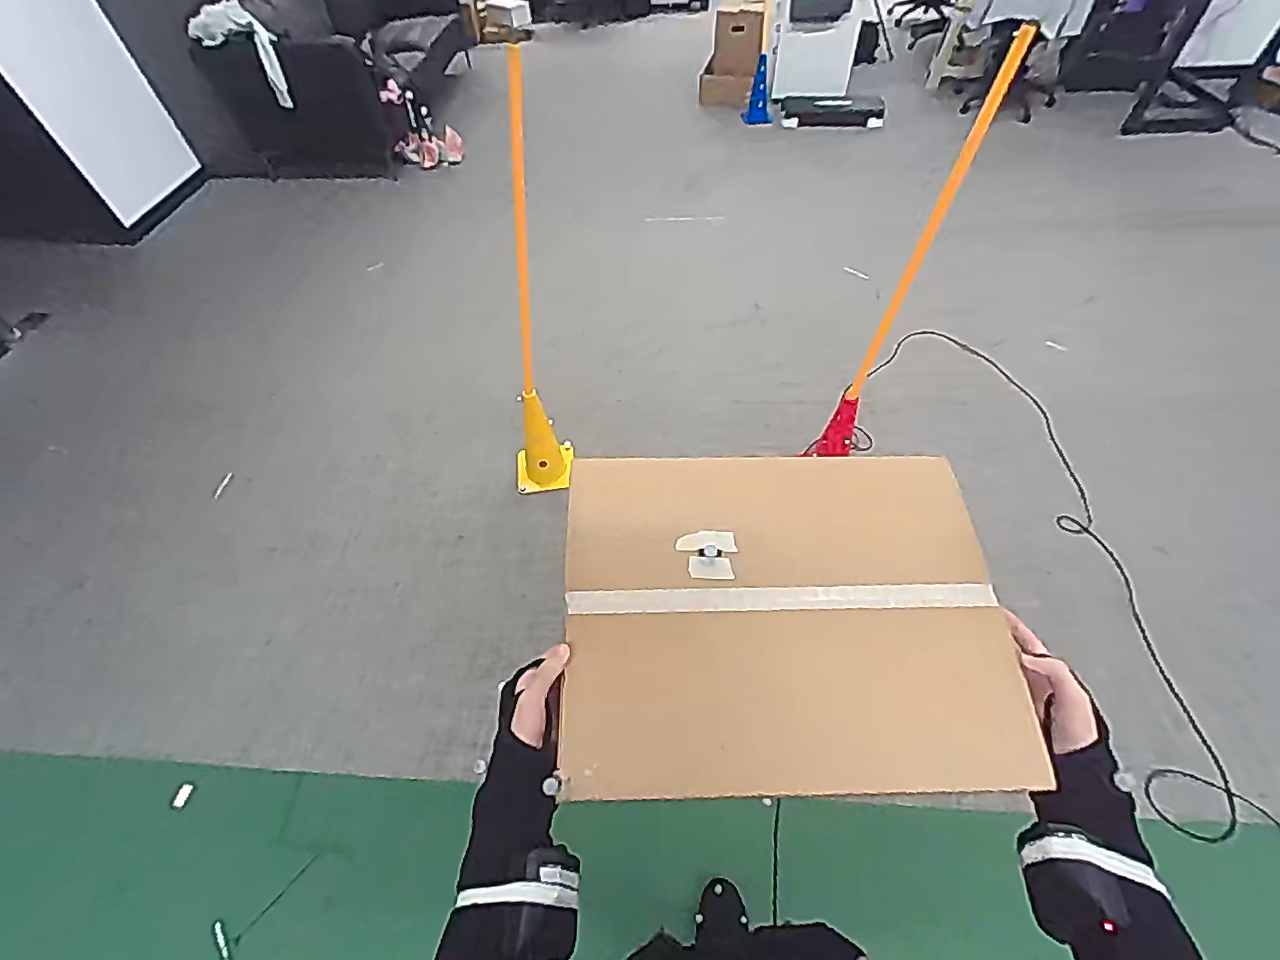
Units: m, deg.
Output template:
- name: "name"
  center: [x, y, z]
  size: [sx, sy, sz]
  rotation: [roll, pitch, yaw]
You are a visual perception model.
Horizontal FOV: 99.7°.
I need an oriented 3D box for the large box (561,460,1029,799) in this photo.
- name: "large box"
  center: [0.129, 0.187, 0.650]
  size: [0.408, 0.320, 0.320]
  rotation: [-1, 62, -1]
